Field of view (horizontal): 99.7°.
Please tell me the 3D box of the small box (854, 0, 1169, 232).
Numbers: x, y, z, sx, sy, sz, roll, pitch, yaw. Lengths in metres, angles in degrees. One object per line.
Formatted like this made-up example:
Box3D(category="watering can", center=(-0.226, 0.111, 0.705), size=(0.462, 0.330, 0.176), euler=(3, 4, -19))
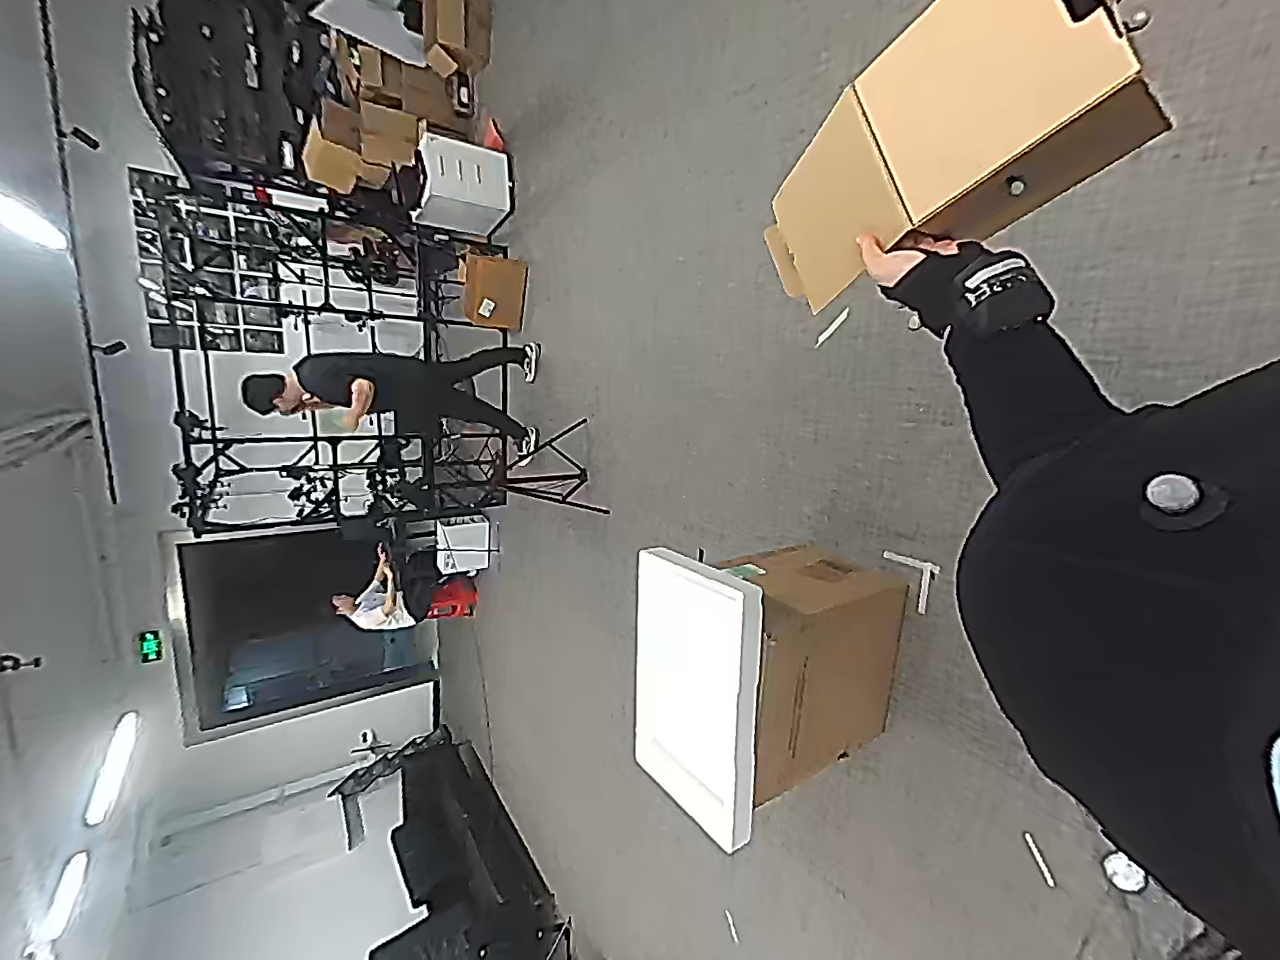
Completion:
Box3D(category="small box", center=(0.346, -0.363, 0.513), size=(0.179, 0.176, 0.168), euler=(-27, 79, 51))
